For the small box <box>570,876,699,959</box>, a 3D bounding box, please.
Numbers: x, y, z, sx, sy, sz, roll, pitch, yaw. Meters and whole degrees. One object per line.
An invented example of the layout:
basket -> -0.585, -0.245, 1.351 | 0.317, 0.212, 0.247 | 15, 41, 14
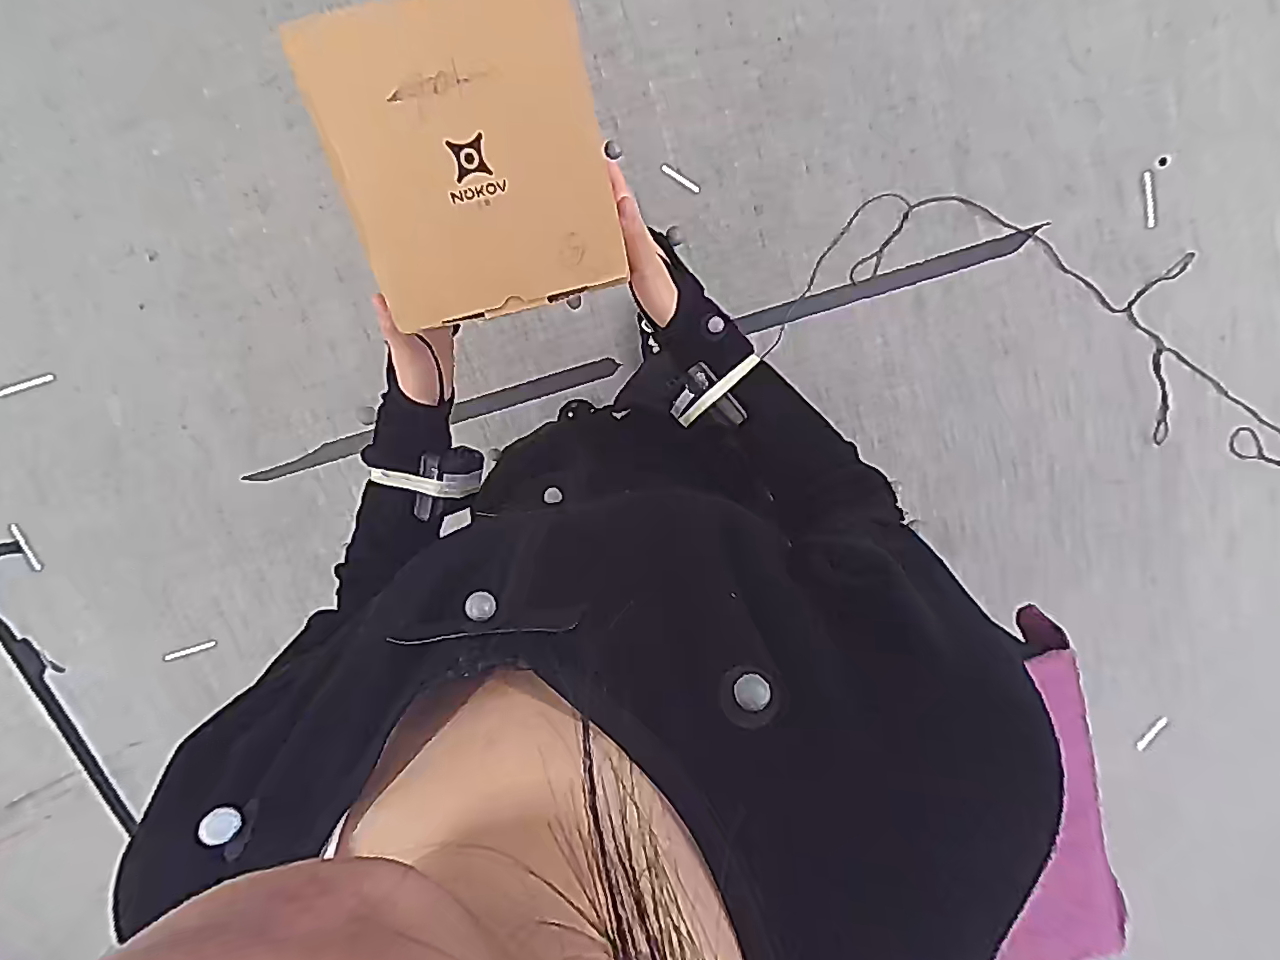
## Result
small box -> -0.003, 0.765, 0.831 | 0.179, 0.176, 0.168 | -19, 103, 1

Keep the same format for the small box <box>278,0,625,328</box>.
small box -> -0.112, -0.230, 0.406 | 0.168, 0.176, 0.179 | -14, 113, 0
